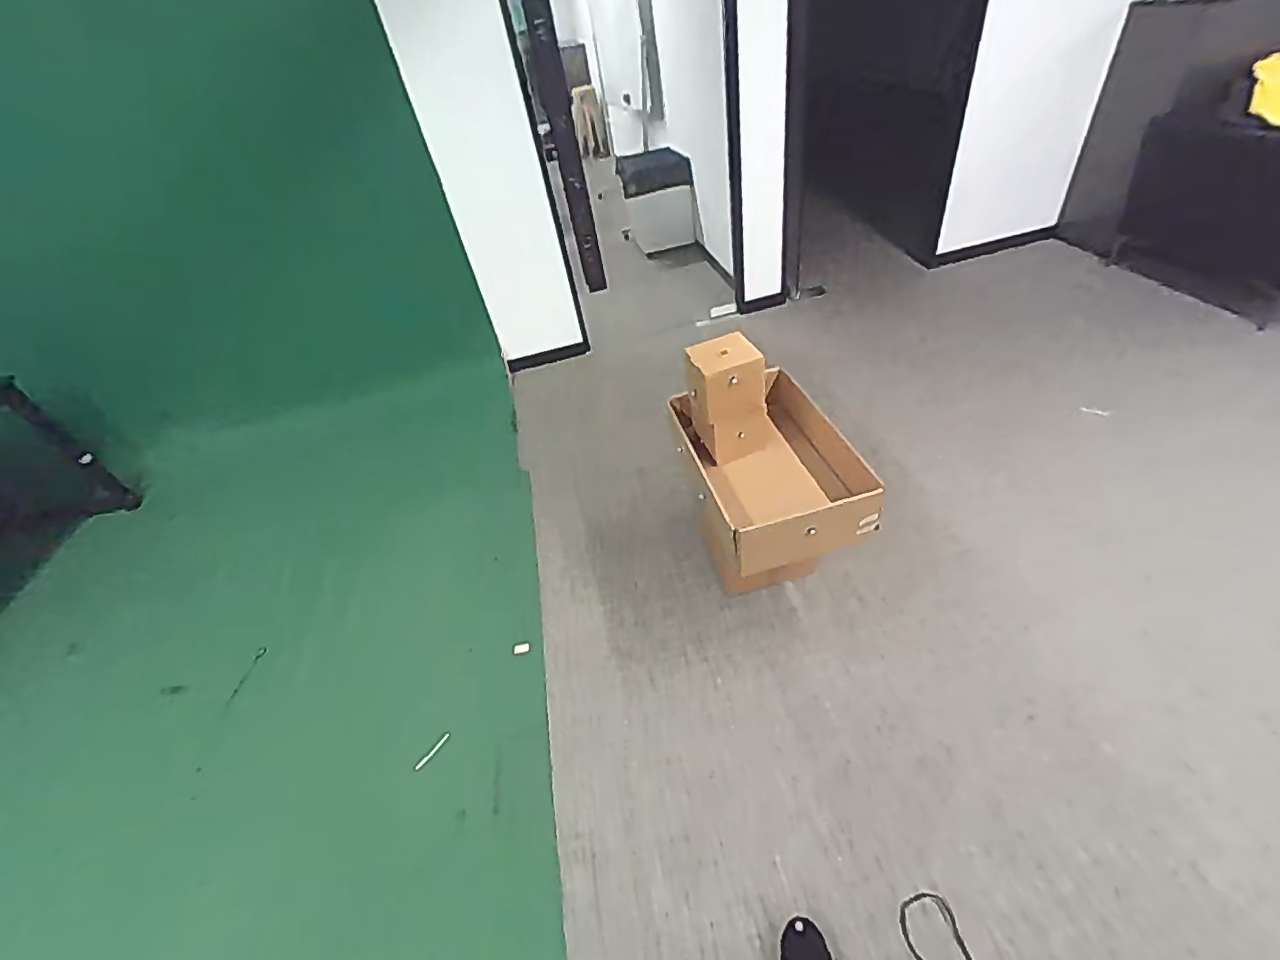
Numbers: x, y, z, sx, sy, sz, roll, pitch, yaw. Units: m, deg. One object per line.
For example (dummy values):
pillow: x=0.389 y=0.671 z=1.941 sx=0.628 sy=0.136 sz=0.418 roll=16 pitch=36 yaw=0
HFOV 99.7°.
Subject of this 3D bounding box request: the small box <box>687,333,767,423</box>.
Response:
small box: x=0.249 y=-0.292 z=1.557 sx=0.179 sy=0.176 sz=0.168 roll=-19 pitch=43 yaw=-6
